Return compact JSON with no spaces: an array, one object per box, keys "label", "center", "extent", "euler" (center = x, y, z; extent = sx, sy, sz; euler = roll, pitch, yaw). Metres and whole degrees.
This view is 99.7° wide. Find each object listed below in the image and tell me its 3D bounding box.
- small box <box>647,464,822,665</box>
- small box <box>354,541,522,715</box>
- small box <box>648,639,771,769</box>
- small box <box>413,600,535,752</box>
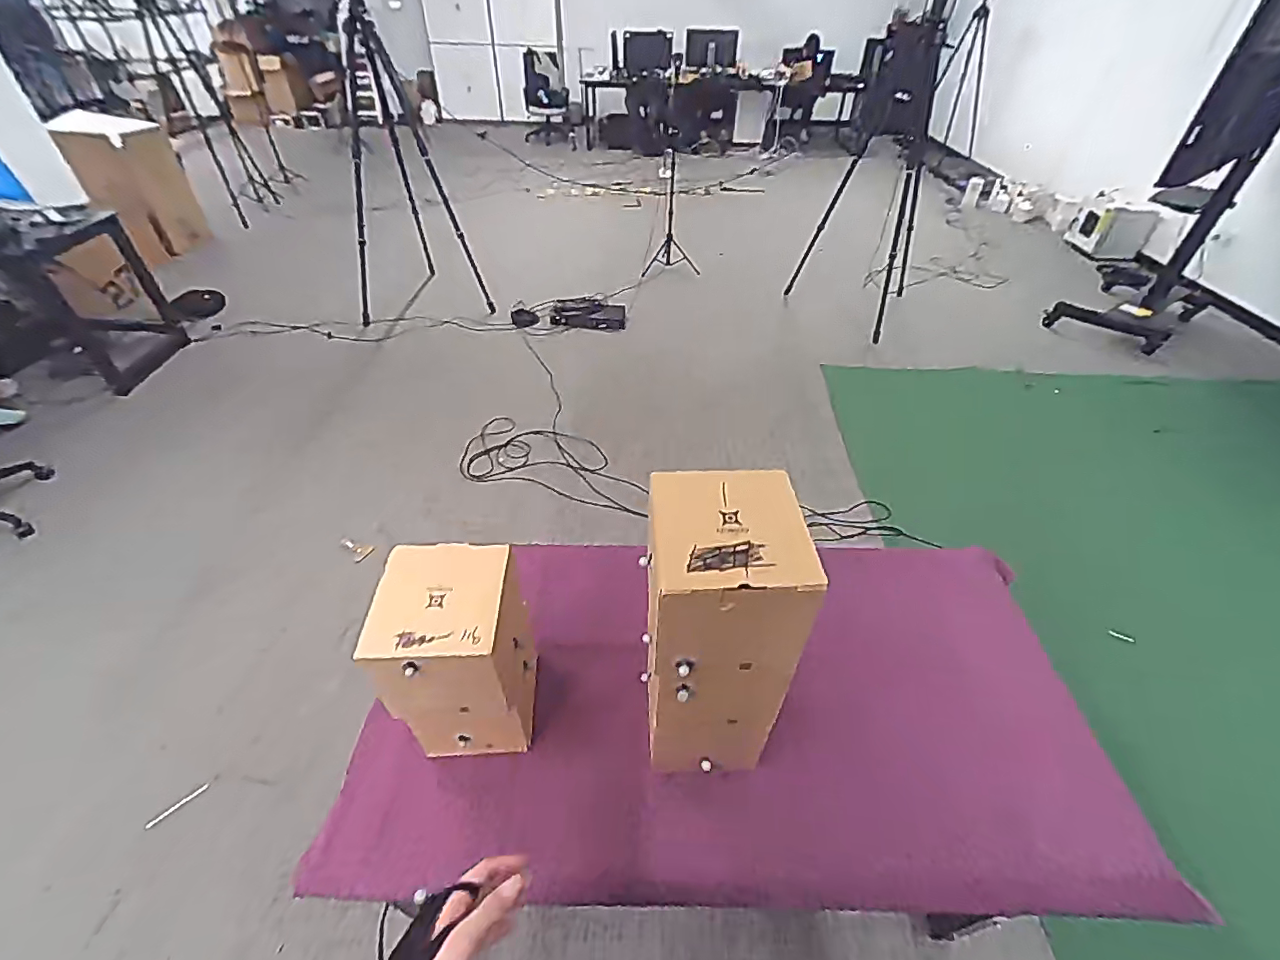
[{"label":"small box","center":[0.093,0.101,0.631],"extent":[0.168,0.176,0.179],"euler":[-1,41,-2]},{"label":"small box","center":[-0.263,0.206,0.758],"extent":[0.168,0.176,0.179],"euler":[-1,43,-2]},{"label":"small box","center":[0.098,0.336,0.860],"extent":[0.168,0.176,0.179],"euler":[-1,43,-1]},{"label":"small box","center":[-0.265,0.317,0.878],"extent":[0.168,0.176,0.179],"euler":[-2,43,-4]}]
